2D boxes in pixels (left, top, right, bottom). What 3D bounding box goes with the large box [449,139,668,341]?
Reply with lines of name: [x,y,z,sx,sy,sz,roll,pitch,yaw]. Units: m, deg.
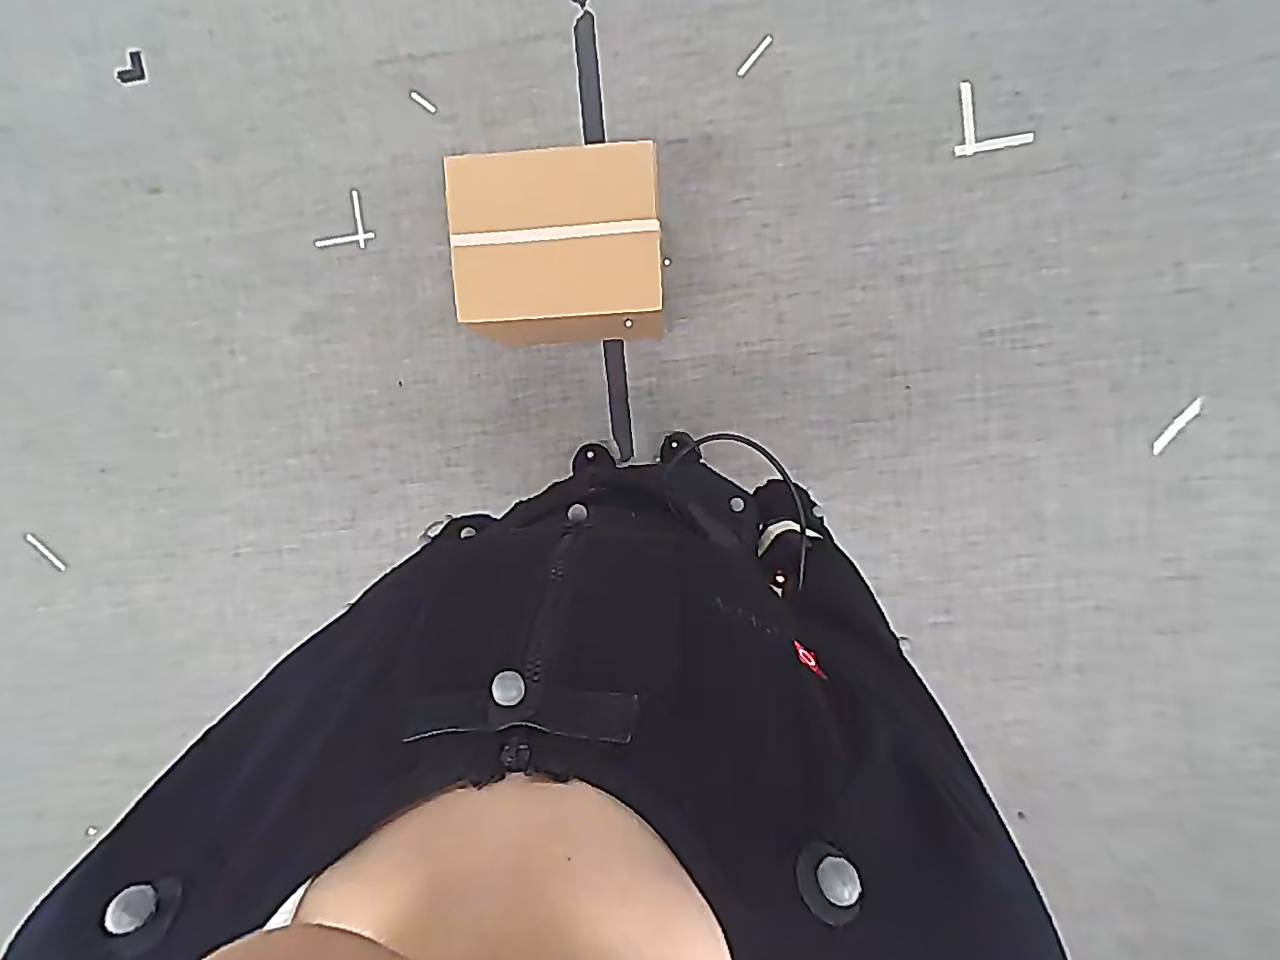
large box: [-0.150,-0.490,1.183,0.408,0.320,0.320,-3,96,4]
